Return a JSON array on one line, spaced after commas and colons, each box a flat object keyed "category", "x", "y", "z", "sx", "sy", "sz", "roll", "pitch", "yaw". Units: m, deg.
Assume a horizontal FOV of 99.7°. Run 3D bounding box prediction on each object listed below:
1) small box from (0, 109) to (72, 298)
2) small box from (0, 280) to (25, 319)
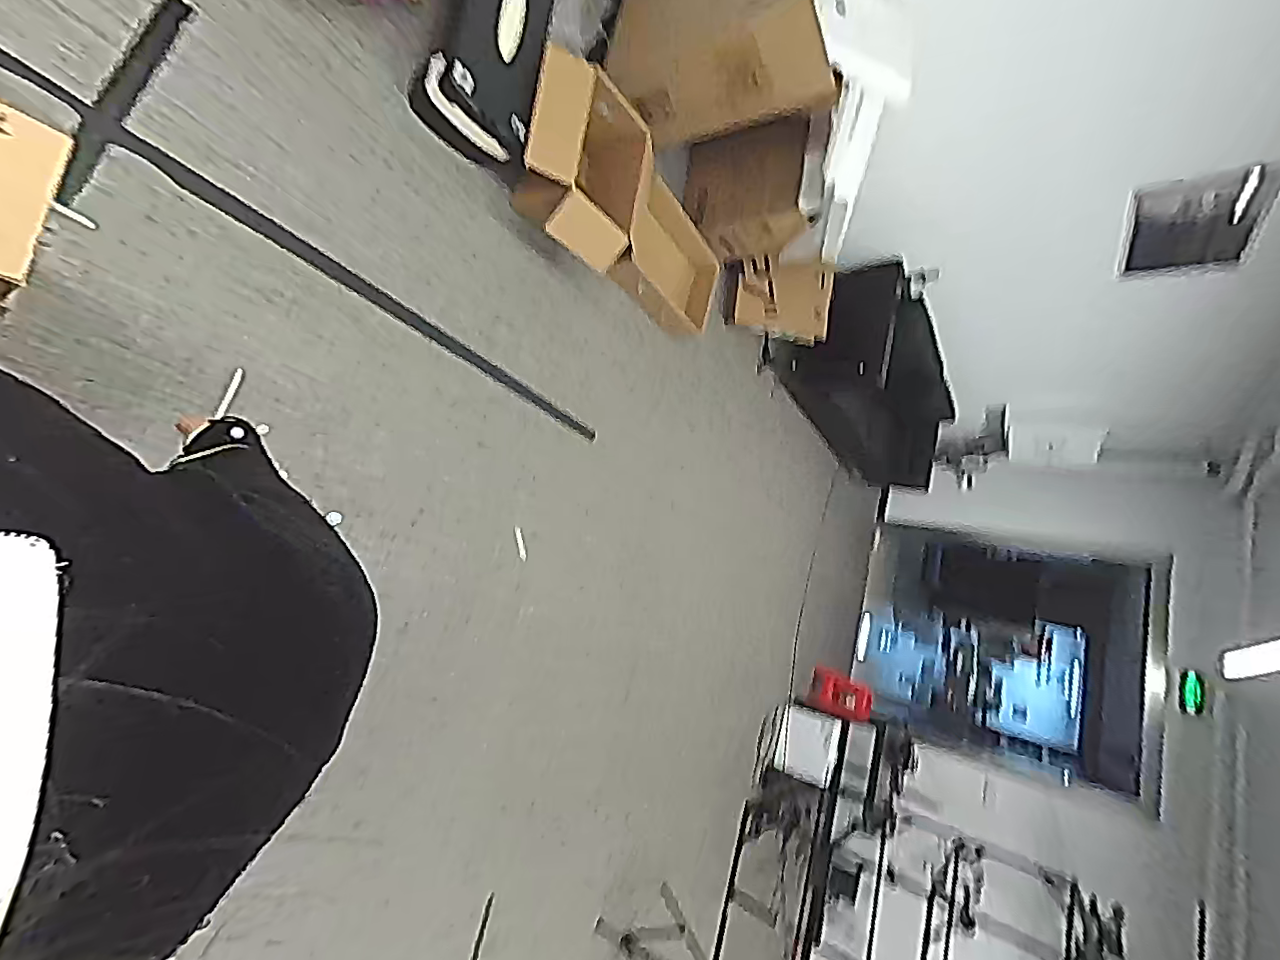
[{"category": "small box", "x": -0.750, "y": -0.310, "z": 0.571, "sx": 0.168, "sy": 0.176, "sz": 0.179, "roll": 20, "pitch": 80, "yaw": -52}, {"category": "small box", "x": -0.880, "y": -0.317, "z": 0.670, "sx": 0.168, "sy": 0.176, "sz": 0.179, "roll": 19, "pitch": 80, "yaw": -52}]
